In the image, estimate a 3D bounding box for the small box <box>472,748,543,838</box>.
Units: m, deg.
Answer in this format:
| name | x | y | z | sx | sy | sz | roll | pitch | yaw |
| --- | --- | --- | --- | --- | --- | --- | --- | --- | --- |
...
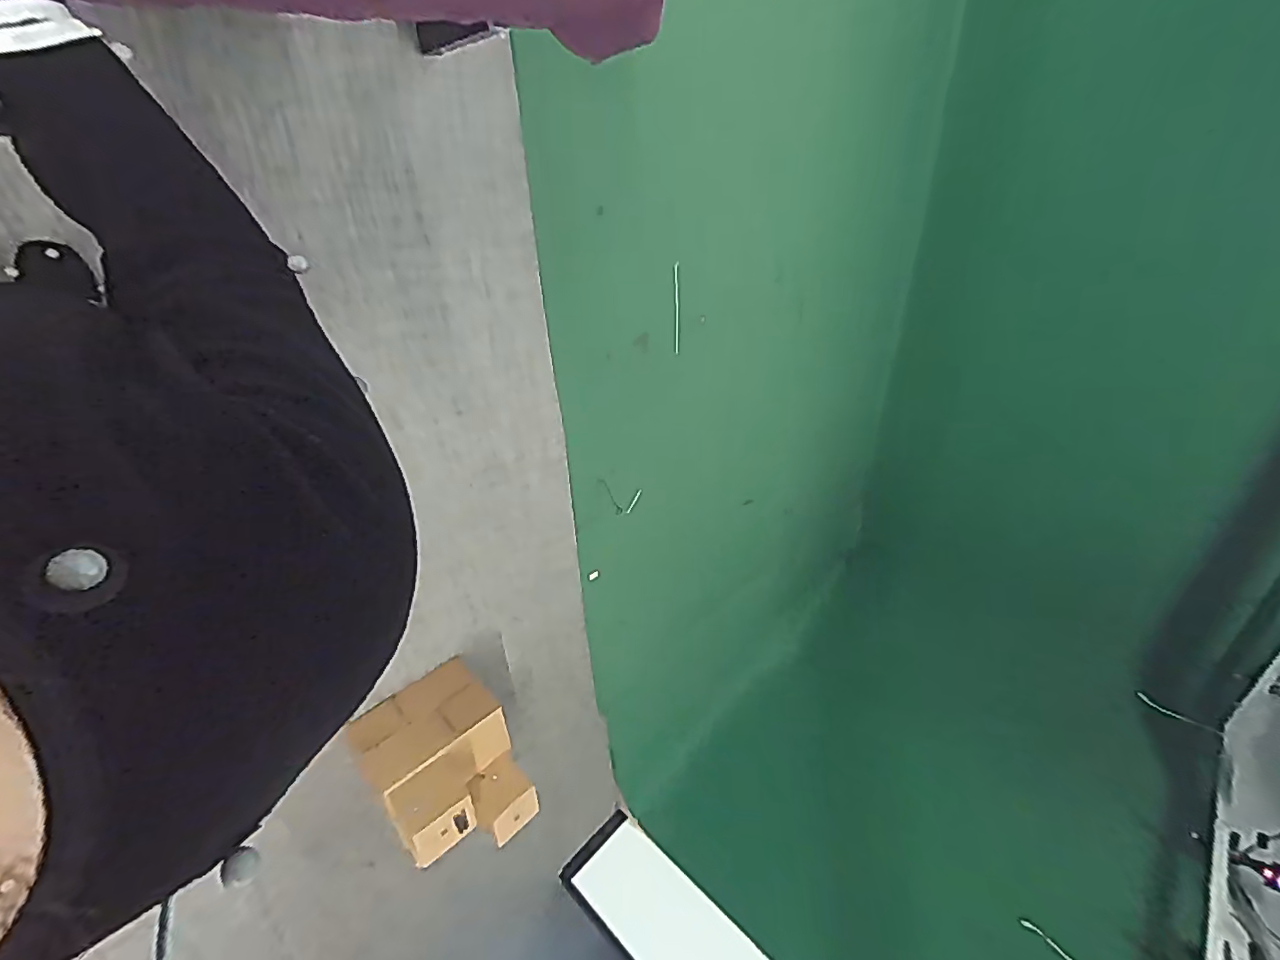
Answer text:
| name | x | y | z | sx | sy | sz | roll | pitch | yaw |
| --- | --- | --- | --- | --- | --- | --- | --- | --- | --- |
| small box | -0.453 | 1.067 | 1.855 | 0.168 | 0.176 | 0.179 | -30 | 133 | -38 |
